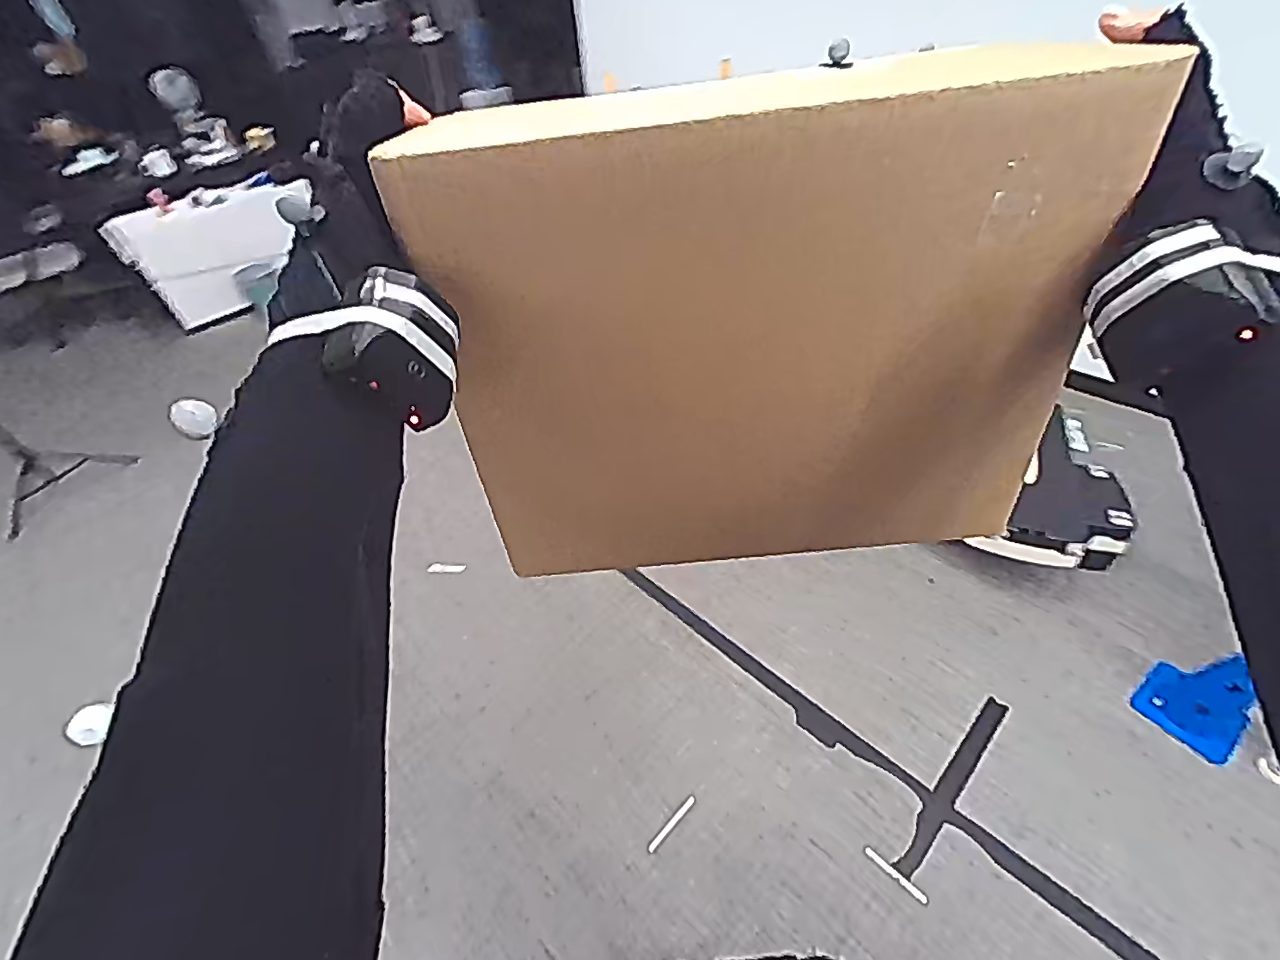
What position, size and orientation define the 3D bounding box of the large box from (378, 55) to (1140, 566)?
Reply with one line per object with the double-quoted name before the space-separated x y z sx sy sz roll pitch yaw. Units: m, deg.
"large box" 0.064 -0.153 0.482 0.408 0.320 0.320 -6 37 1
